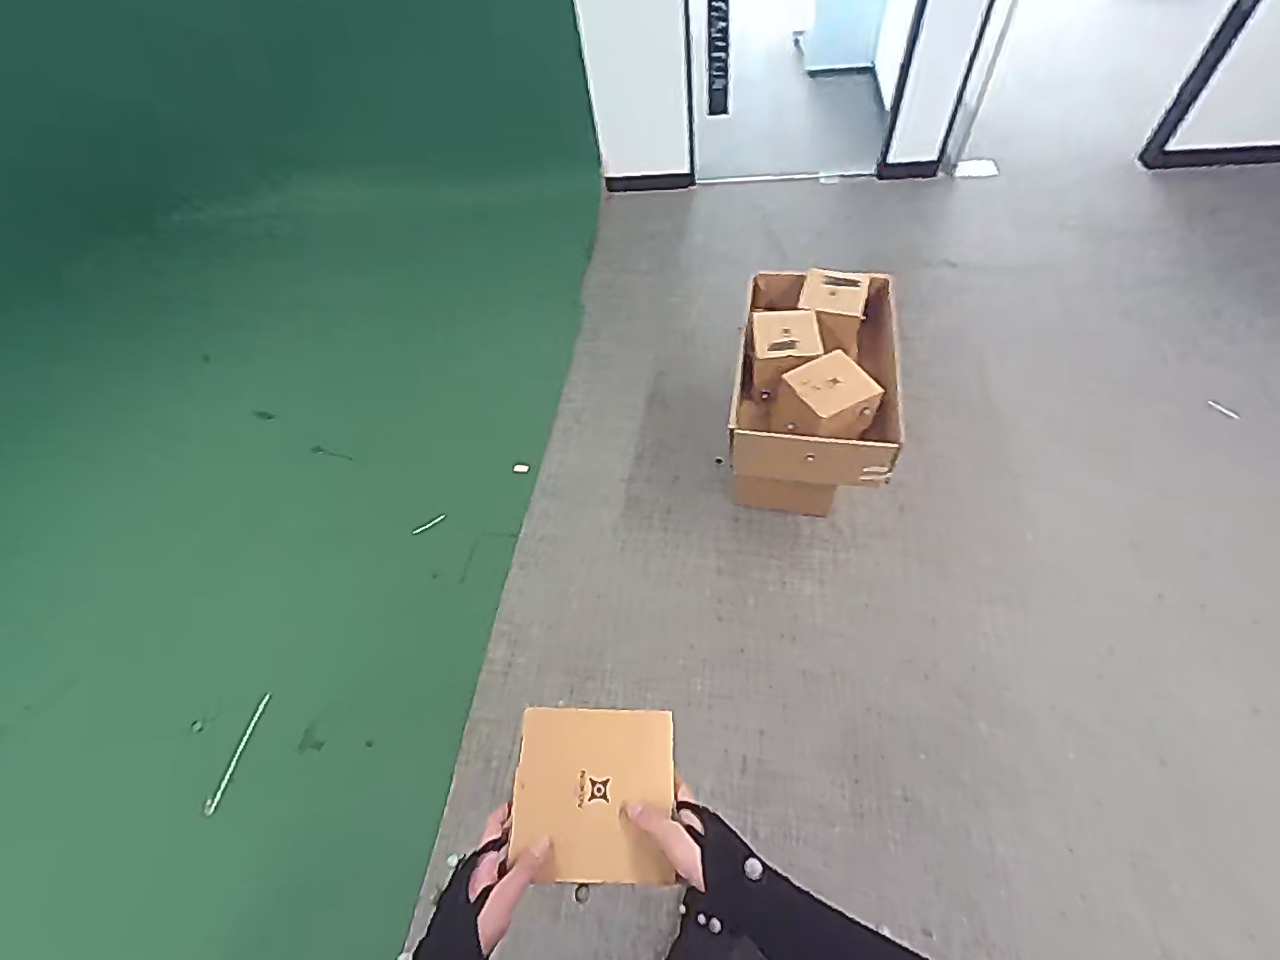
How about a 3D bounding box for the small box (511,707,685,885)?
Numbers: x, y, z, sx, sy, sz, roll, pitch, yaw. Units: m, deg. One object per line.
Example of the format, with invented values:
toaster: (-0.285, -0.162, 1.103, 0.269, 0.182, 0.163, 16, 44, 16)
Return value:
small box: (-0.045, 0.374, 0.646, 0.179, 0.176, 0.168, 1, 56, -2)
